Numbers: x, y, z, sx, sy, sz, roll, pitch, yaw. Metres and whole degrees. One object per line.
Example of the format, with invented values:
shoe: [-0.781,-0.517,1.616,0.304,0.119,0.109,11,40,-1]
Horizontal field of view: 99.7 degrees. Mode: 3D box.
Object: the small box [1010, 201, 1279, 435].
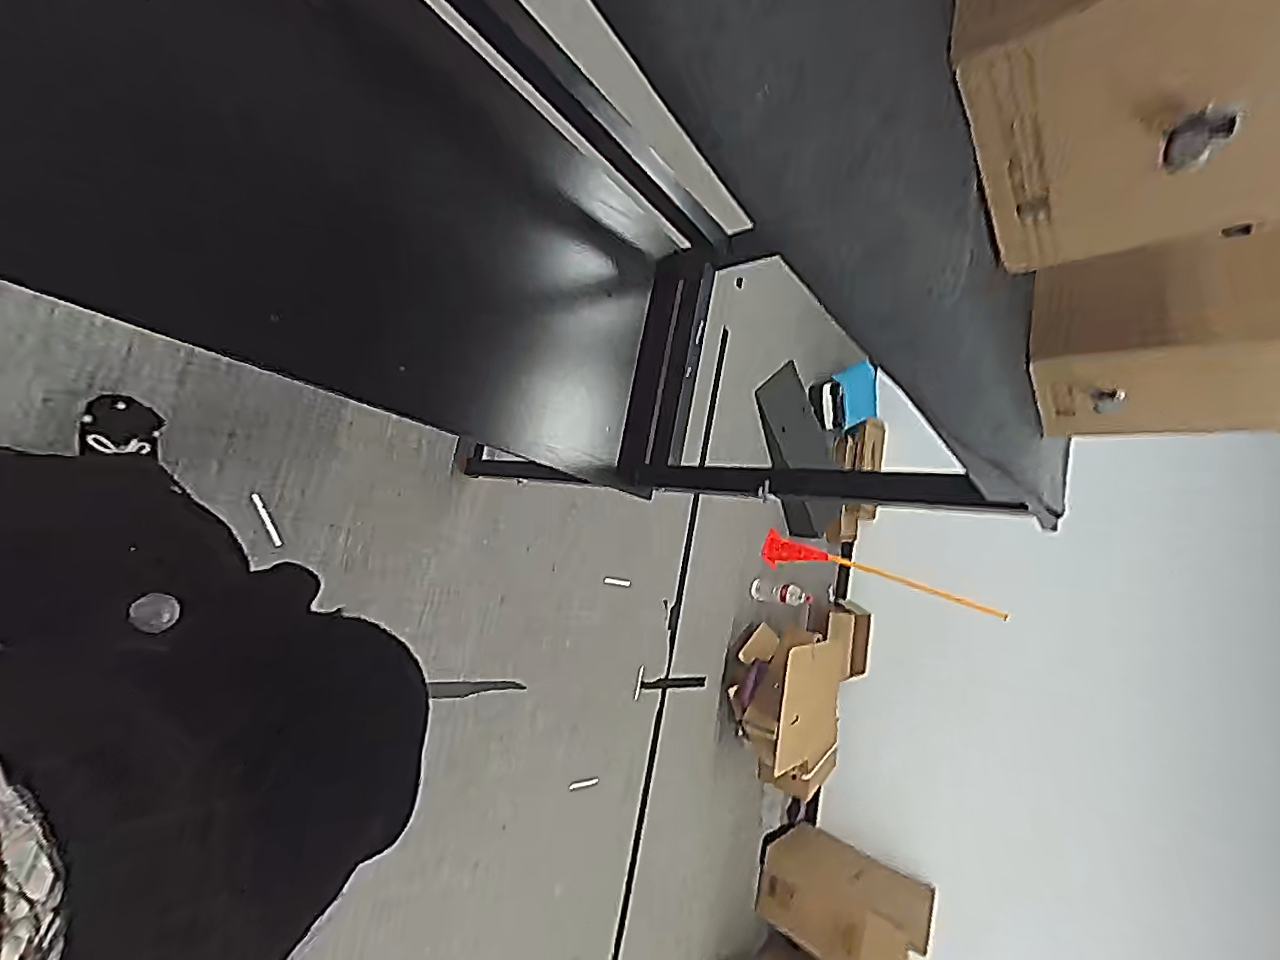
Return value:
small box: [0.446,-0.152,0.489,0.168,0.176,0.179,29,70,-45]
